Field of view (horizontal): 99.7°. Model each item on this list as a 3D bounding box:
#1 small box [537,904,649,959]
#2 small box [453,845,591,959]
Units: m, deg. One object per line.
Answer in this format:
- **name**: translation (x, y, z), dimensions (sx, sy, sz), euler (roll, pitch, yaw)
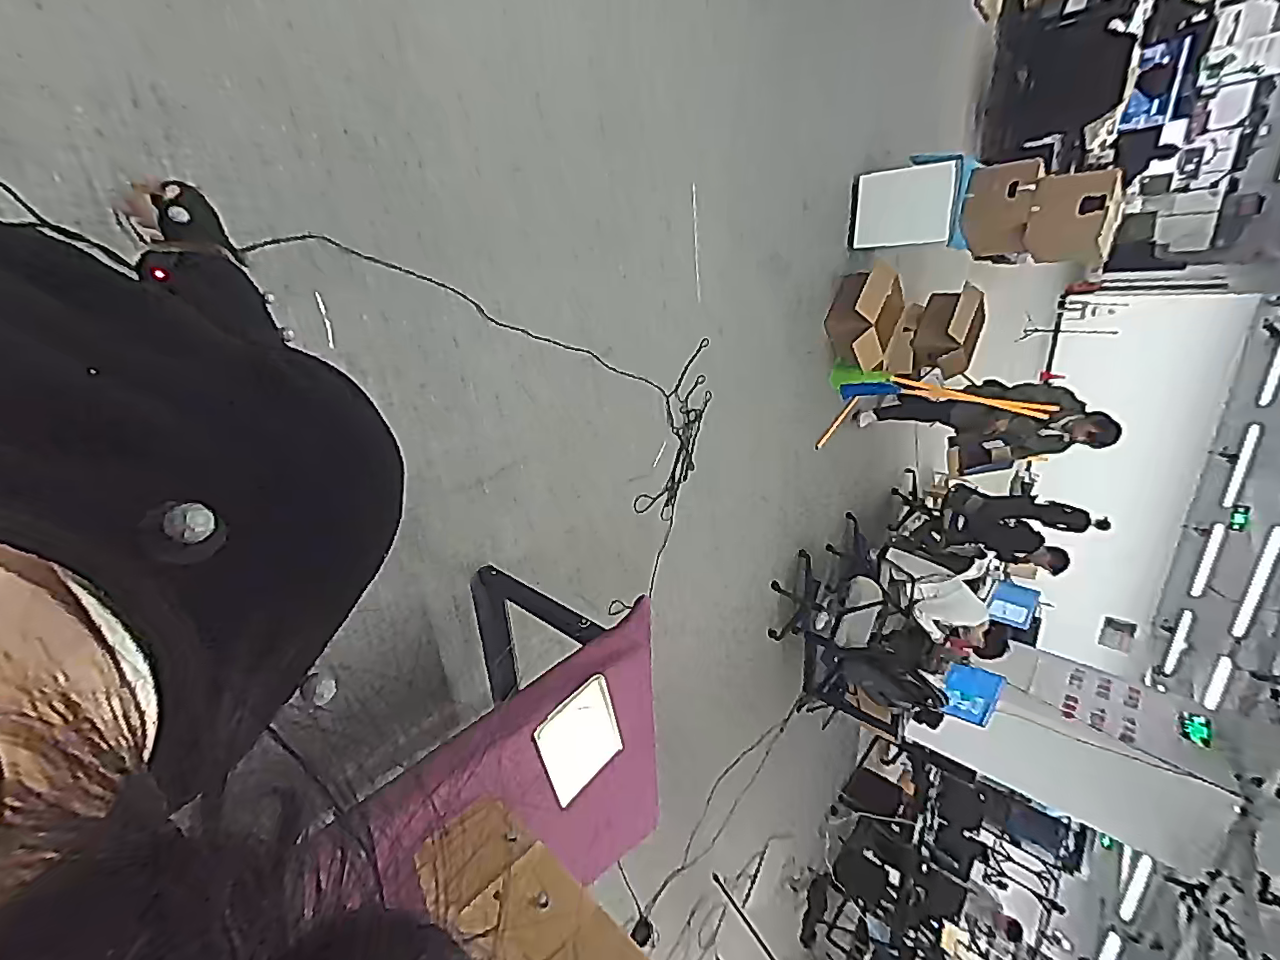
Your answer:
- **small box**: translation (-0.077, 0.798, 0.797), dimensions (0.179, 0.176, 0.168), euler (-20, 119, -45)
- **small box**: translation (-0.194, 0.765, 0.910), dimensions (0.168, 0.176, 0.179), euler (-23, 120, -43)
